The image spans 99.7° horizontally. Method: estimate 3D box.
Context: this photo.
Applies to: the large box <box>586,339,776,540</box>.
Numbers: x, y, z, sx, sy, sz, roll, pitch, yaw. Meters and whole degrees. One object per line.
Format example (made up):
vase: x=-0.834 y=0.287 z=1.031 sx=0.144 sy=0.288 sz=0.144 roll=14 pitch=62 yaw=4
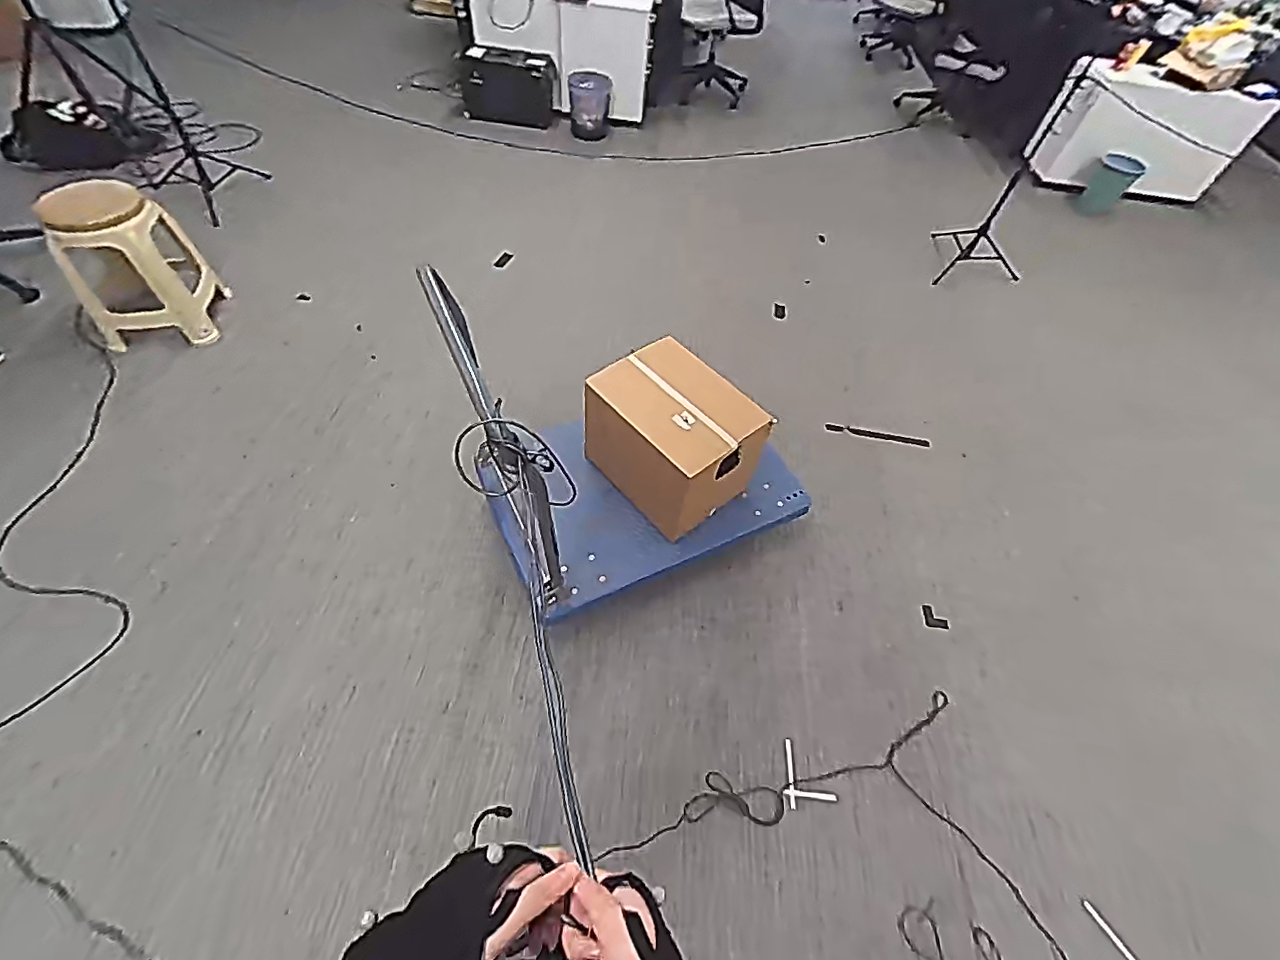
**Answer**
large box: x=0.090 y=-0.116 z=1.509 sx=0.320 sy=0.320 sz=0.408 roll=-34 pitch=65 yaw=-25
